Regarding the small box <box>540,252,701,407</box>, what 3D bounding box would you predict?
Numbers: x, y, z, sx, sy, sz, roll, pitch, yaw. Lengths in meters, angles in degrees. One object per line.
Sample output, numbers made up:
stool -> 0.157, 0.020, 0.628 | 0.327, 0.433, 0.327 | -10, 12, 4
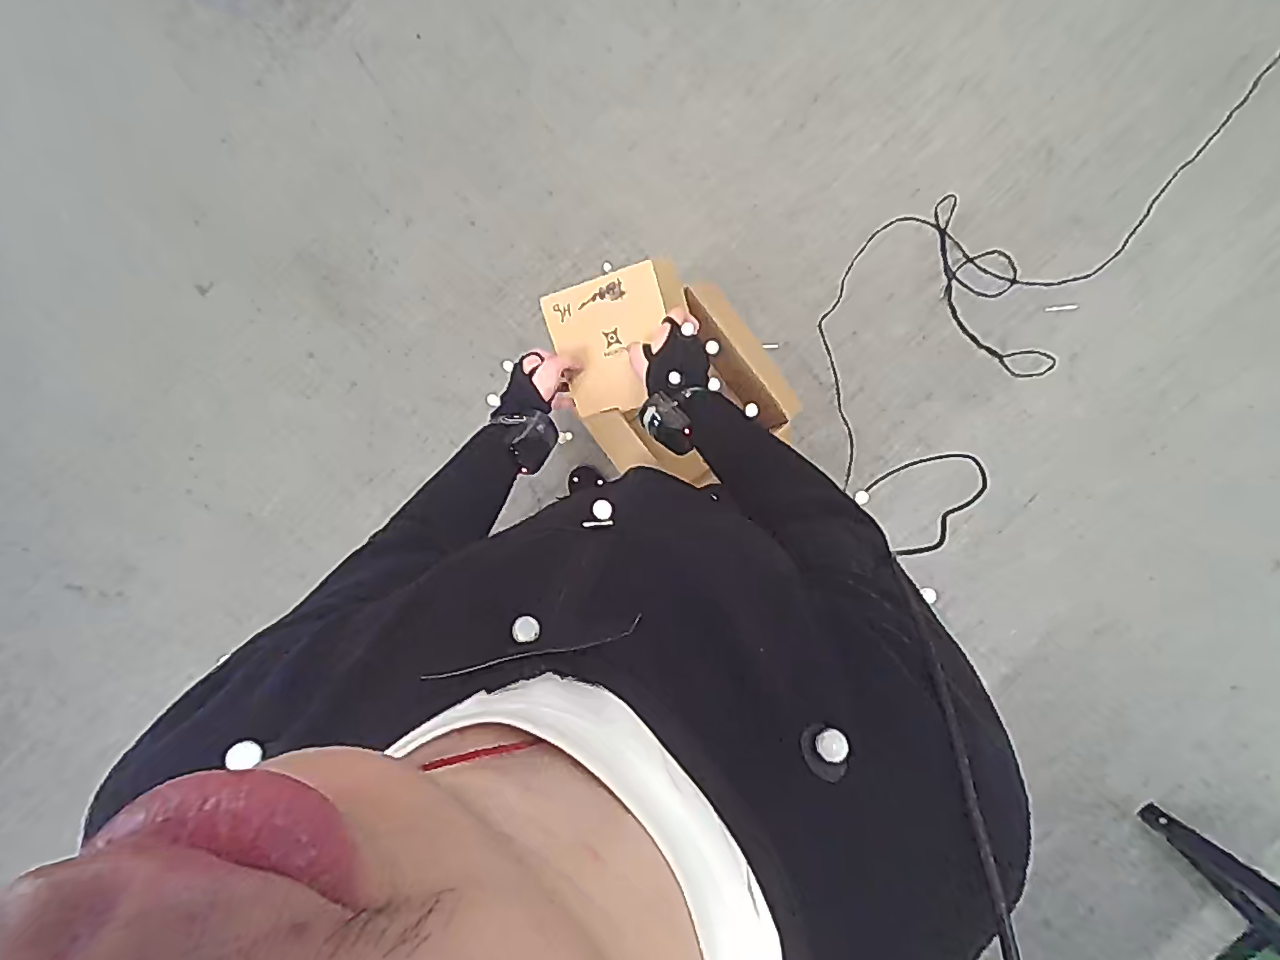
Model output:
small box -> -0.017, -0.230, 0.811 | 0.168, 0.176, 0.179 | -12, 108, 21
